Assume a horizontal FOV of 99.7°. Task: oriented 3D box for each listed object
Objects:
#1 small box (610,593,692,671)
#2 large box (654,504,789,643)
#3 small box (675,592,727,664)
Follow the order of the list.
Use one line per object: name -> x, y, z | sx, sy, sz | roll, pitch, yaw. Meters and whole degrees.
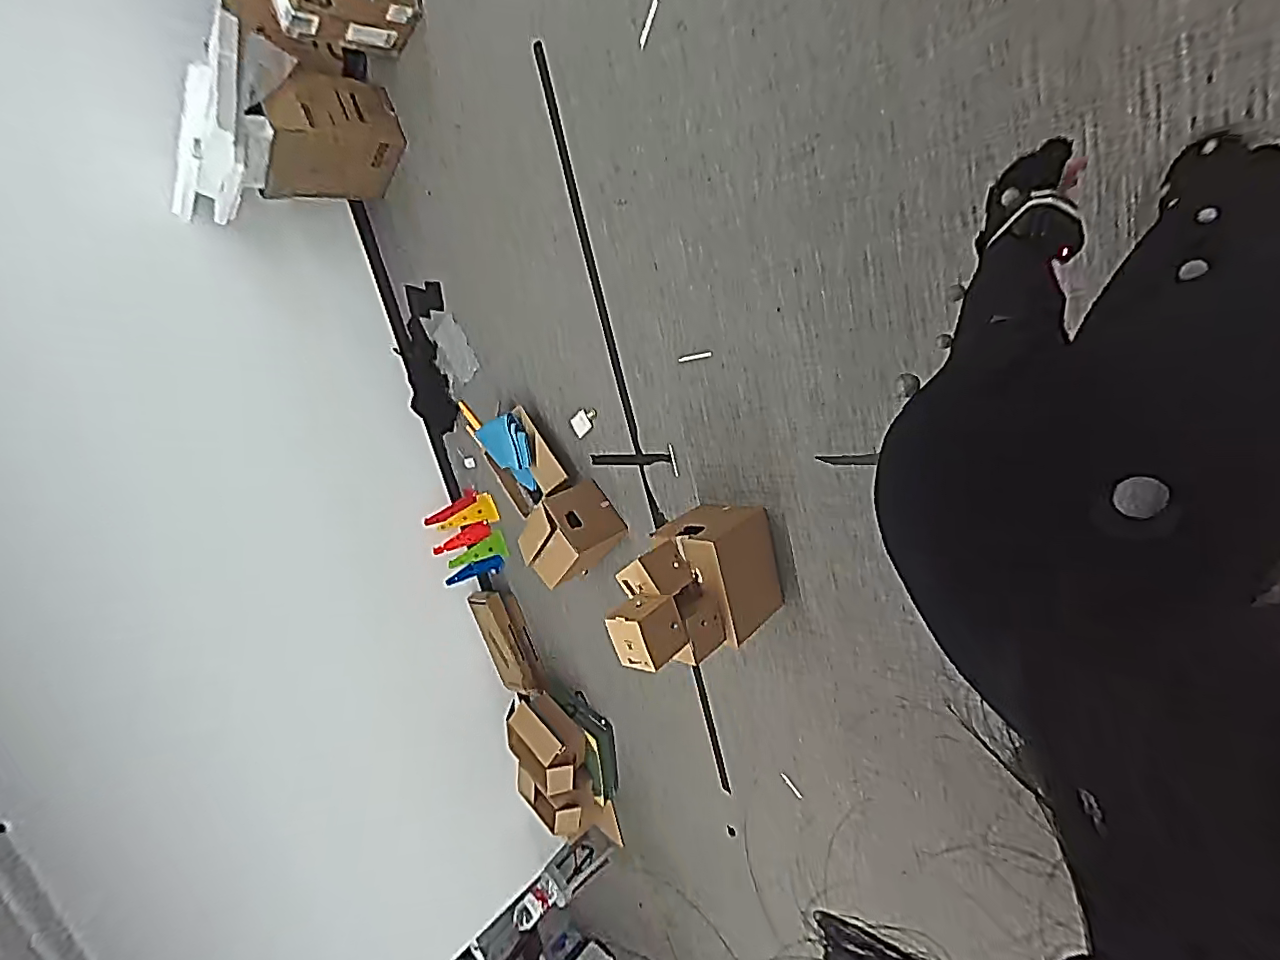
small box -> 0.038, 0.479, 1.734 | 0.168, 0.176, 0.179 | -9, 103, 49
large box -> 0.308, 0.327, 1.999 | 0.320, 0.320, 0.408 | -2, 107, 47
small box -> 0.180, 0.499, 1.848 | 0.179, 0.176, 0.168 | -1, 106, 49
